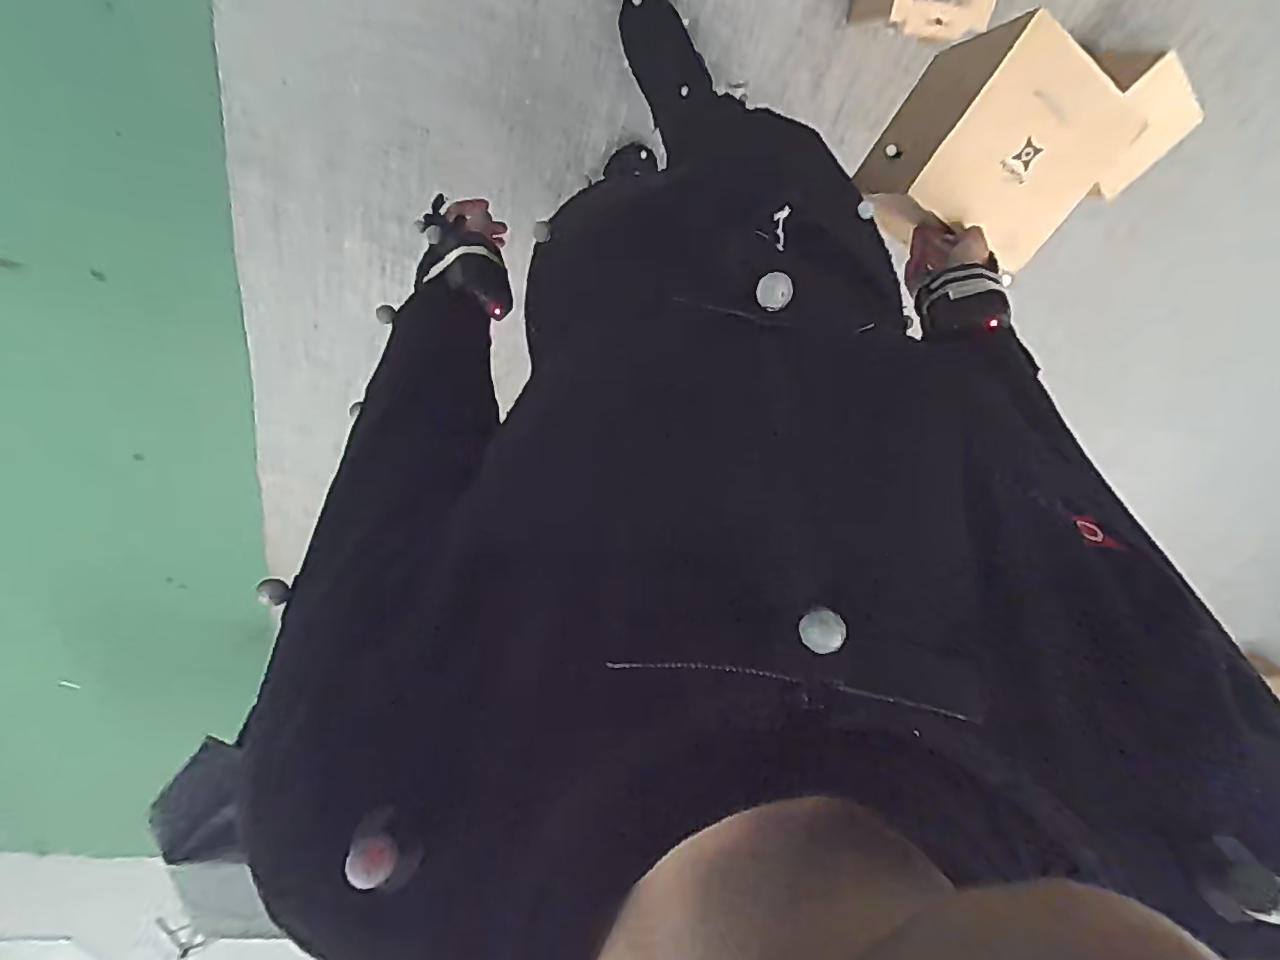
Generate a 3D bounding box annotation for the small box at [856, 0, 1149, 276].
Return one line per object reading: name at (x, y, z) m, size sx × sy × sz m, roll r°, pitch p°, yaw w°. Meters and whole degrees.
small box at (0.368, -0.353, 0.593) m, size 0.168 × 0.176 × 0.179 m, roll 26°, pitch 112°, yaw -17°

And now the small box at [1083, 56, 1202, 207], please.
small box at (0.894, -0.671, 1.039) m, size 0.168 × 0.176 × 0.179 m, roll 30°, pitch 120°, yaw -26°
